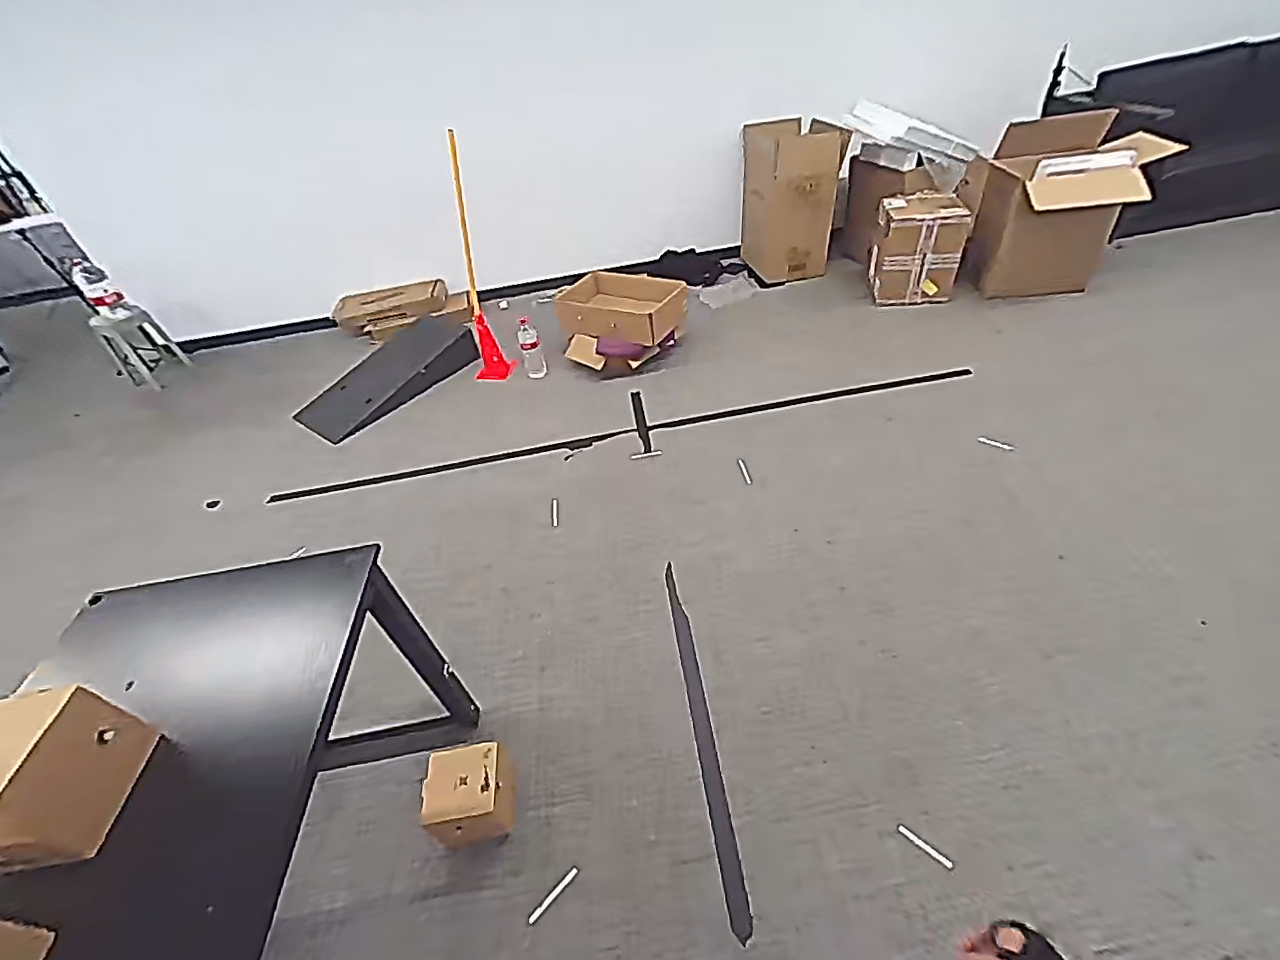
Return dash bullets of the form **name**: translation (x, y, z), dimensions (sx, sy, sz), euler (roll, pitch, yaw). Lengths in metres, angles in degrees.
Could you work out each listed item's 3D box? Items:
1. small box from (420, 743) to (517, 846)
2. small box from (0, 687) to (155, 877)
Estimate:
- **small box**: translation (-0.423, 0.793, 1.360), dimensions (0.179, 0.176, 0.168), euler (-11, 42, -1)
- **small box**: translation (-0.847, 0.422, 0.756), dimensions (0.168, 0.176, 0.179), euler (-11, 42, 0)
